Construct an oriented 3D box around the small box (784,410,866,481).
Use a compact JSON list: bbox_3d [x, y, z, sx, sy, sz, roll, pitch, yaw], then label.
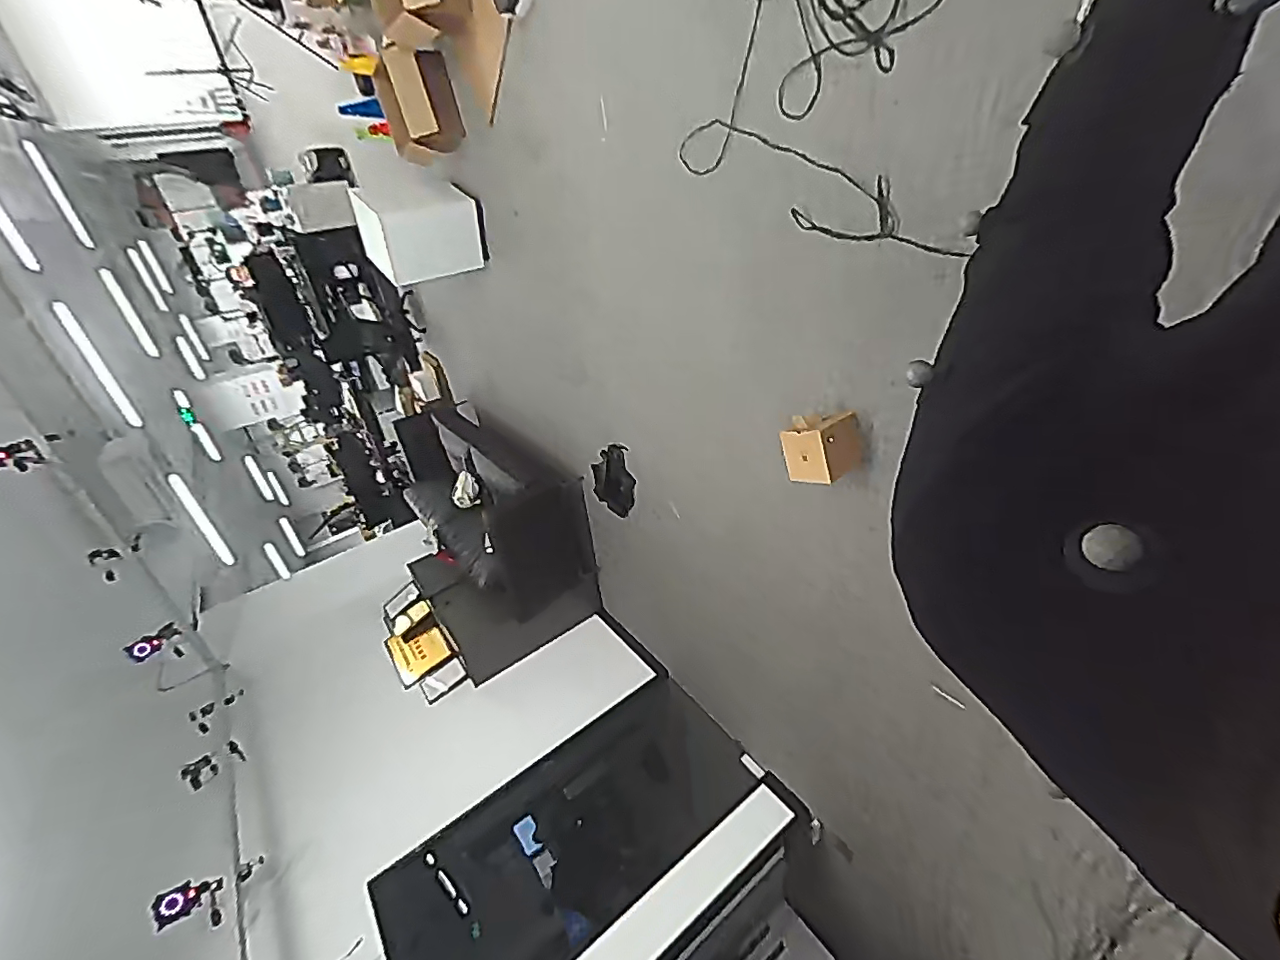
[{"bbox_3d":[0.590,-0.112,1.715,0.168,0.176,0.179,7,118,58],"label":"small box"}]
